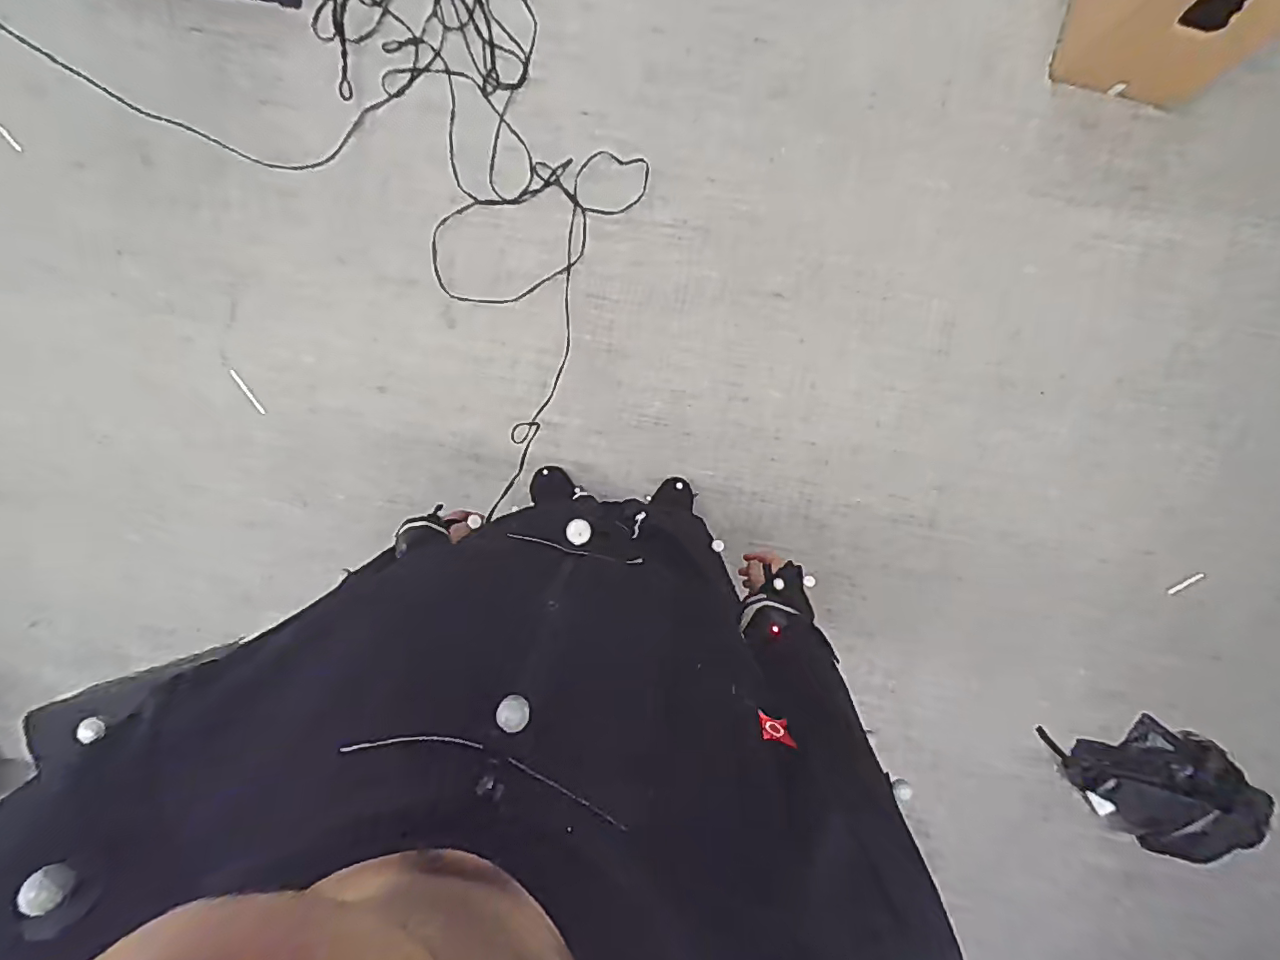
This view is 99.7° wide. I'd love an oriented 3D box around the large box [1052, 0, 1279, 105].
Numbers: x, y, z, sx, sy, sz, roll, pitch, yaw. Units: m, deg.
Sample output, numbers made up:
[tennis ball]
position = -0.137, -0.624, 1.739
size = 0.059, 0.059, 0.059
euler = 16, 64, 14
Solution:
[large box]
position = 1.174, -1.117, 1.140
size = 0.320, 0.320, 0.408
euler = 14, 94, 1
